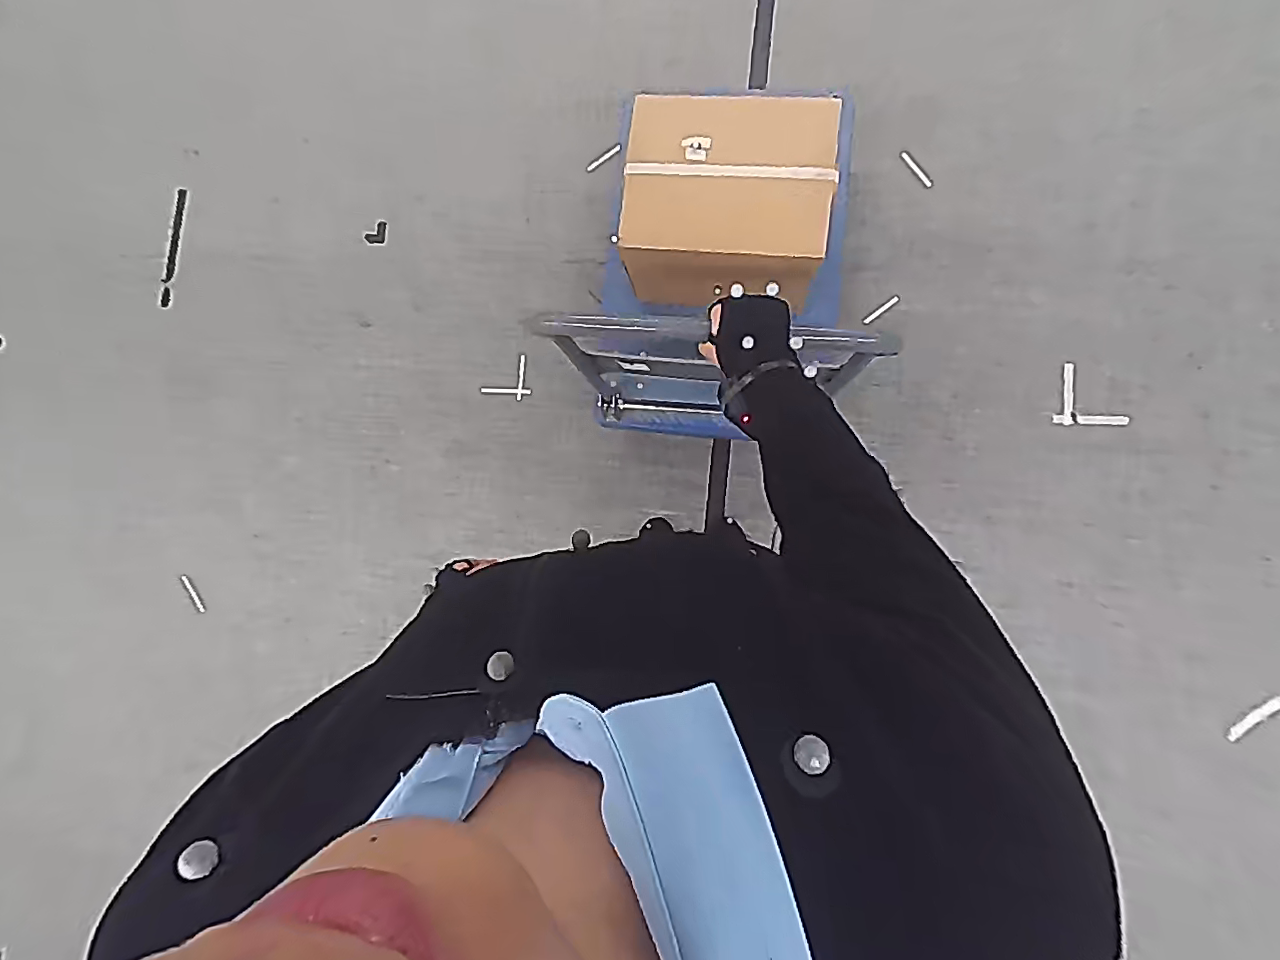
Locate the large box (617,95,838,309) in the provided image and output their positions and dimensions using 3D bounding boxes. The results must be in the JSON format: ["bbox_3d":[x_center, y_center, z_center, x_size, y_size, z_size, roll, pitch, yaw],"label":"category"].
[{"bbox_3d":[0.188,-0.582,1.186,0.408,0.320,0.320,6,87,9],"label":"large box"}]
